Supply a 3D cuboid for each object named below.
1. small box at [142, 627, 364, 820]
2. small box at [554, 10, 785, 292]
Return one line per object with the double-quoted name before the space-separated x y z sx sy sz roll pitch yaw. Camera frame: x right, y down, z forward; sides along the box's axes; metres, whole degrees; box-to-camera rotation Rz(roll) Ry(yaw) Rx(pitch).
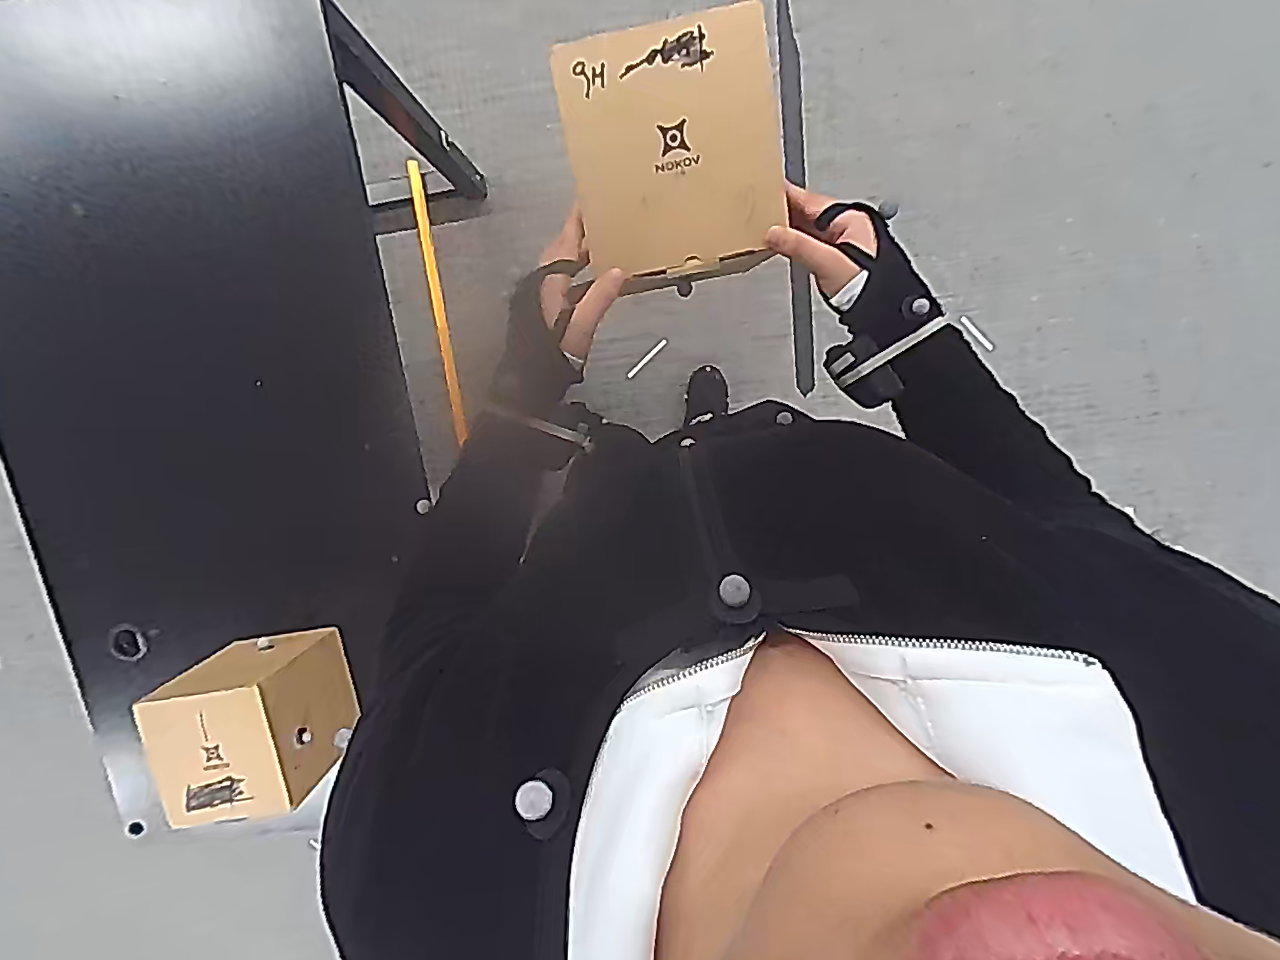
"small box" -0.519 0.329 0.755 0.168 0.176 0.179 -9 98 3
"small box" 0.029 -0.281 0.510 0.168 0.176 0.179 -11 106 3
